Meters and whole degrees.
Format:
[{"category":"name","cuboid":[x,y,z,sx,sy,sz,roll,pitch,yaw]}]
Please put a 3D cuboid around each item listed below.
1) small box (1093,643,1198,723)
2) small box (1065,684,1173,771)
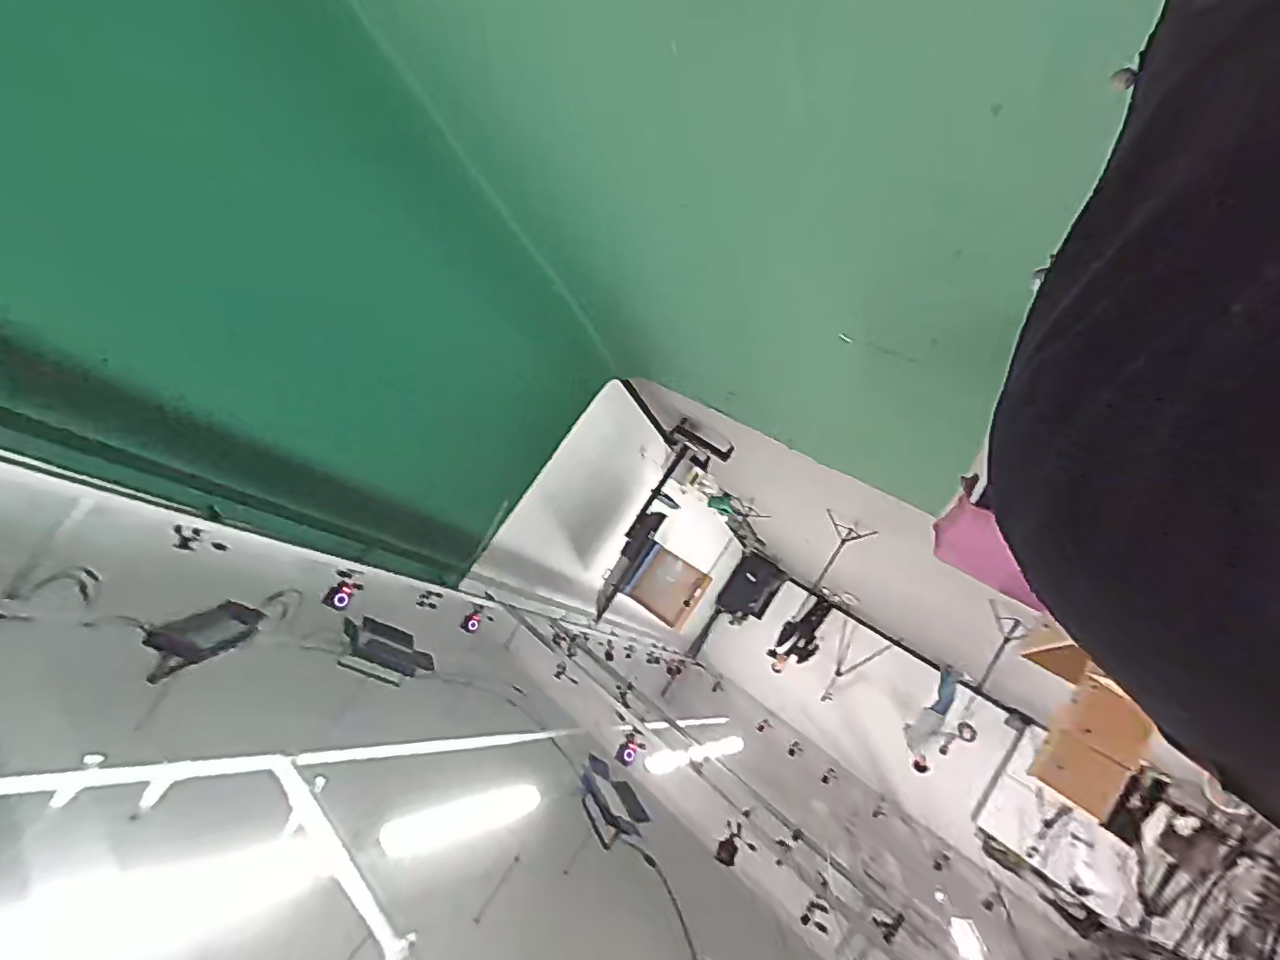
[{"category":"small box","cuboid":[1.550,0.619,1.662,0.168,0.176,0.179,32,172,28]},{"category":"small box","cuboid":[1.452,0.747,1.642,0.179,0.176,0.168,32,172,30]}]
